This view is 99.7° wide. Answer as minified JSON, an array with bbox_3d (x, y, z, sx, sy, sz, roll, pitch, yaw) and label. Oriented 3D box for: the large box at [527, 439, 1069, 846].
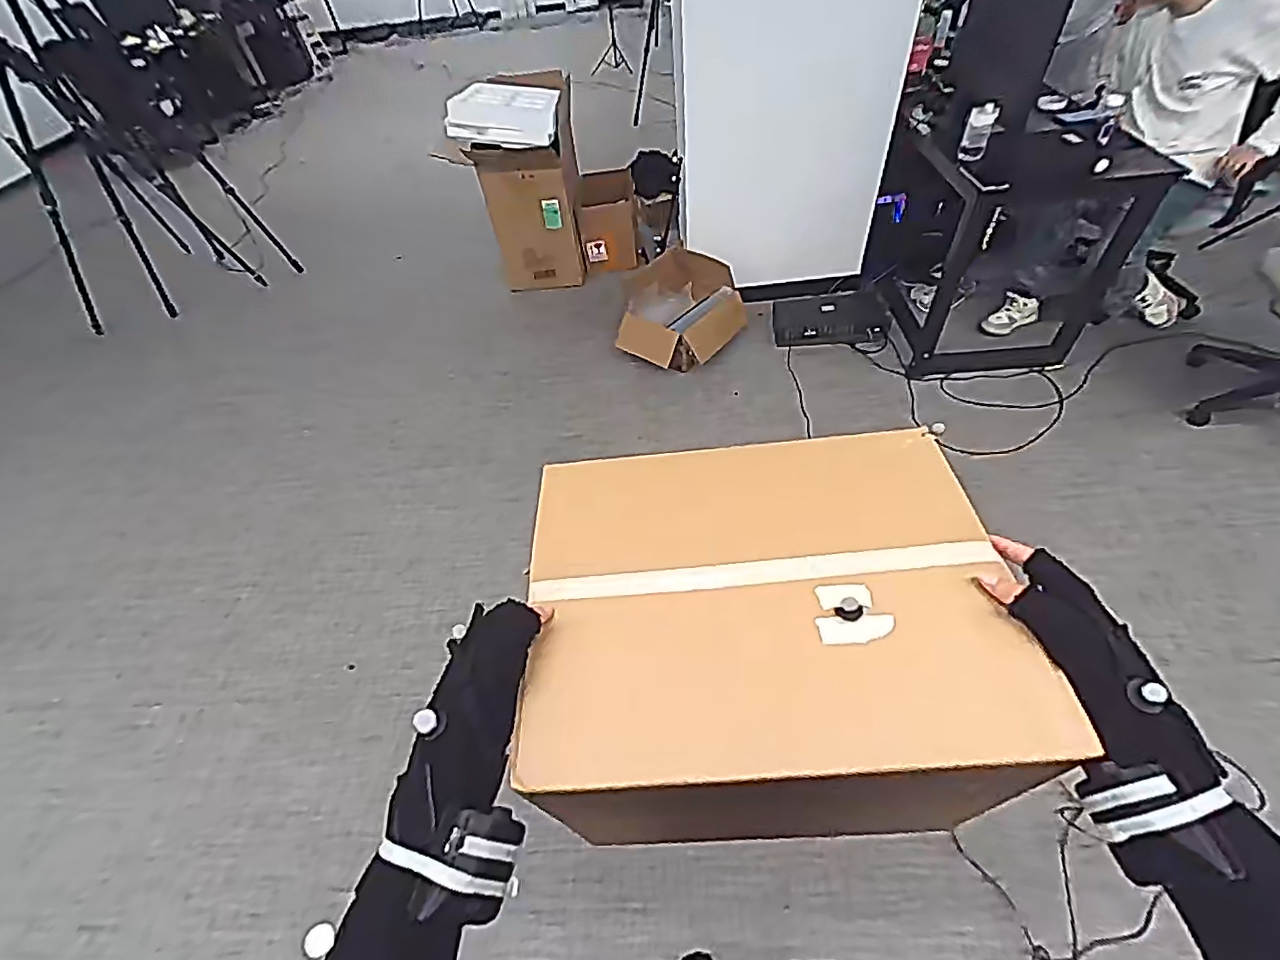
[{"bbox_3d":[0.118,0.189,0.600,0.408,0.320,0.320,-6,49,3],"label":"large box"}]
